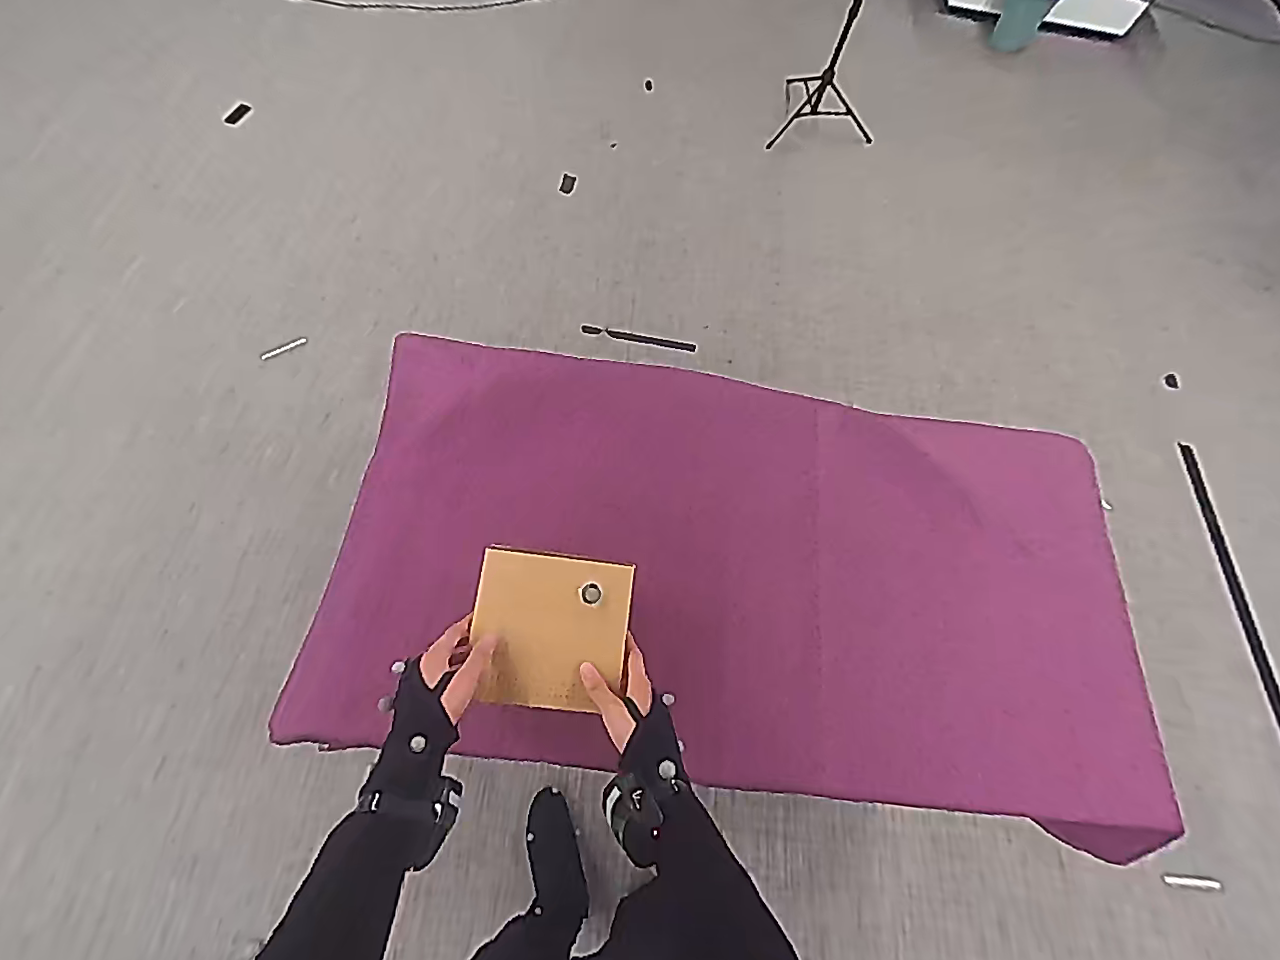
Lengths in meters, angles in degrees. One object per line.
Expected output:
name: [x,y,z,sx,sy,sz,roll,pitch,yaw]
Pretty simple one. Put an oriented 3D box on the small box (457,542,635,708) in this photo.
small box: [-0.110,0.184,0.676,0.179,0.168,0.176,8,73,-4]
